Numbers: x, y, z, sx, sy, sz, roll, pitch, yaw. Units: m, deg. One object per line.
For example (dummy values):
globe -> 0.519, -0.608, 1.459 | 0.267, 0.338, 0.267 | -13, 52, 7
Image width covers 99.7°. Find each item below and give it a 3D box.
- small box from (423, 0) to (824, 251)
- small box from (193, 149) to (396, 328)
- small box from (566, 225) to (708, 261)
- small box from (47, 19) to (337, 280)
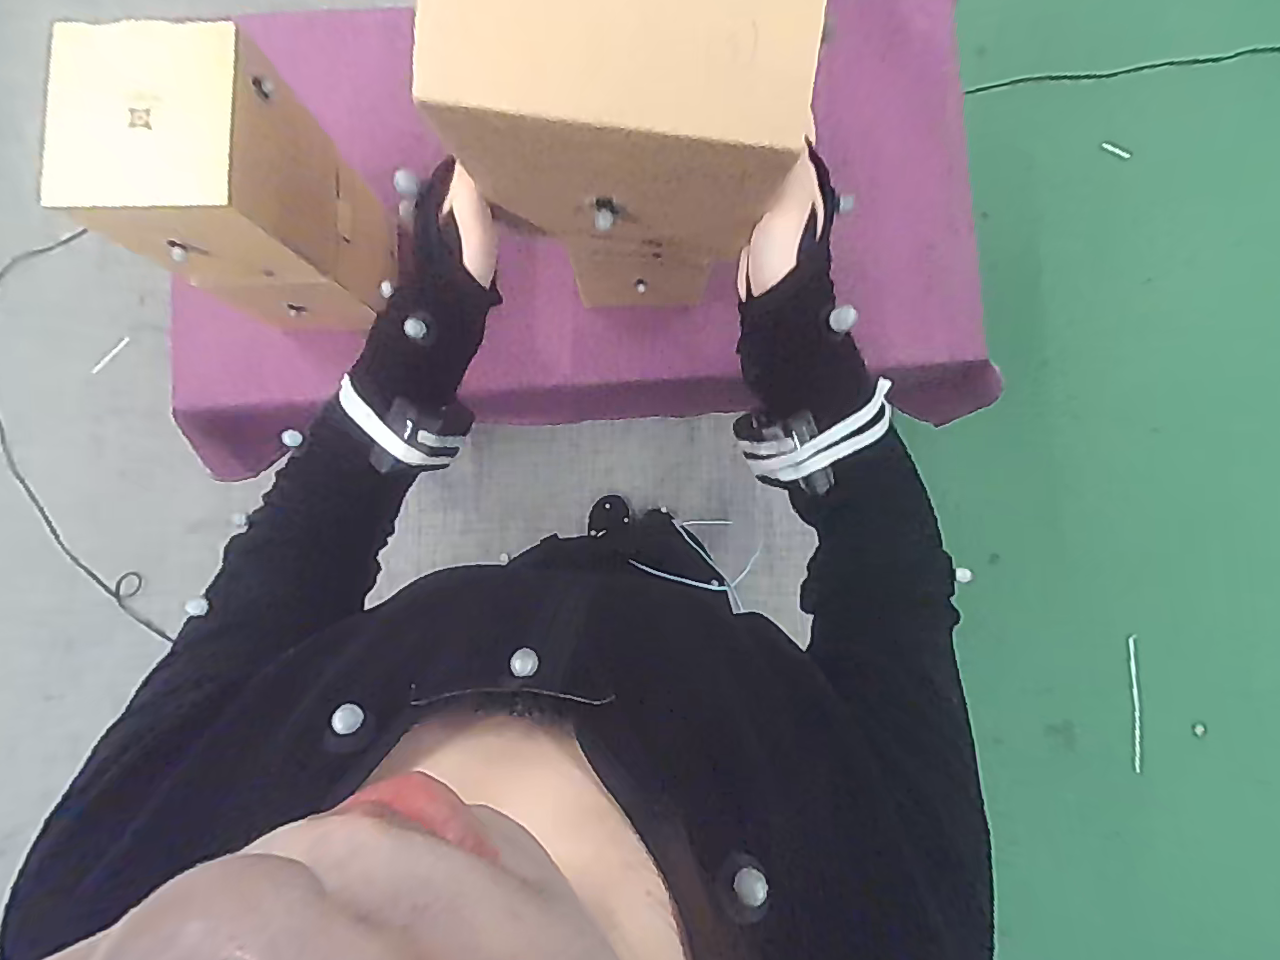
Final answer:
small box -> 0.000, -0.244, 0.297 | 0.168, 0.176, 0.179 | 8, 97, -2
small box -> -0.445, -0.311, 0.723 | 0.179, 0.176, 0.168 | -2, 87, 0
small box -> 0.004, -0.348, 0.566 | 0.168, 0.176, 0.179 | 3, 88, 0
small box -> -0.440, -0.323, 0.561 | 0.168, 0.176, 0.179 | 0, 86, -1
